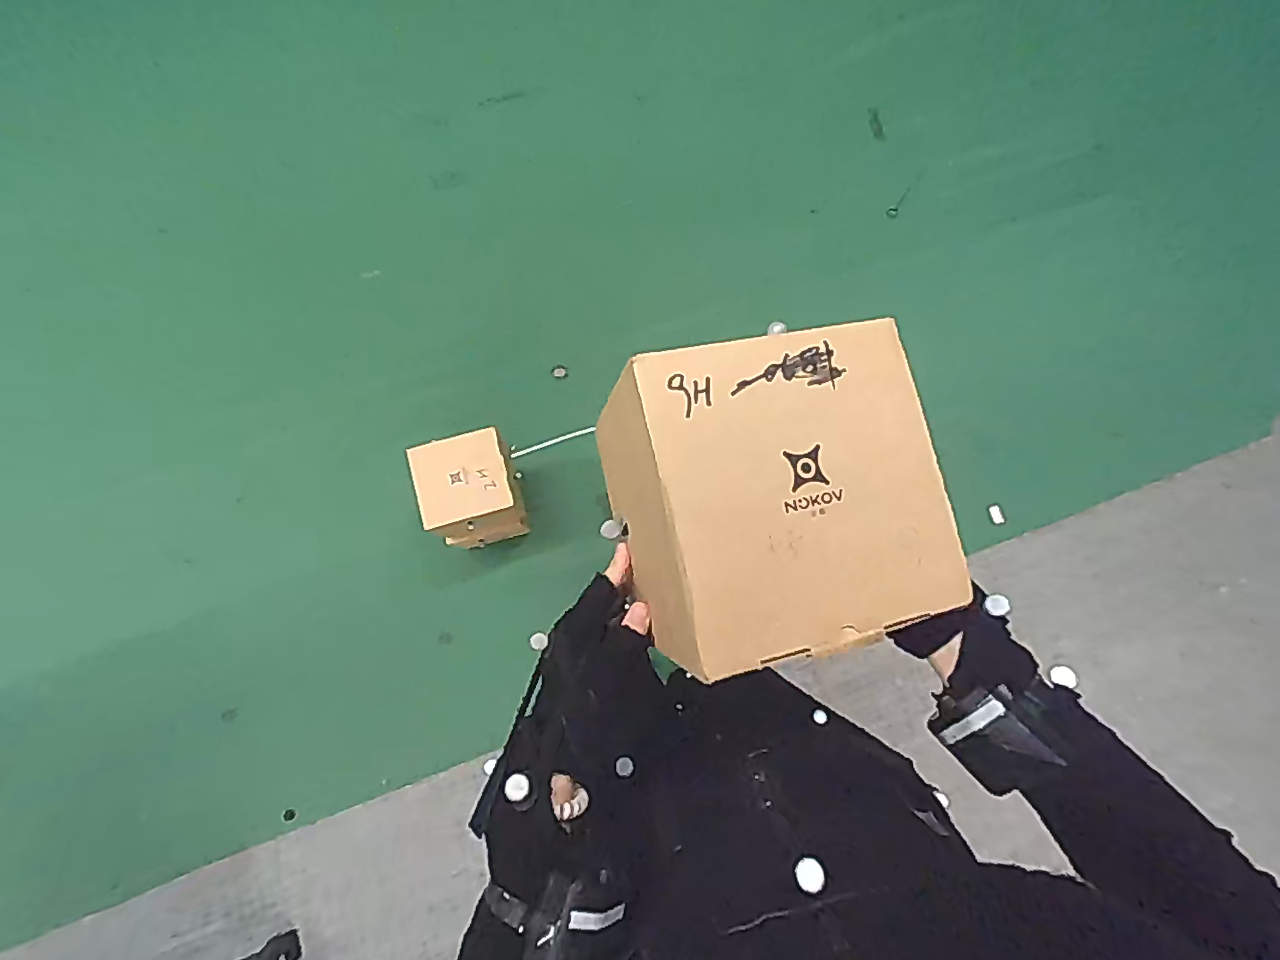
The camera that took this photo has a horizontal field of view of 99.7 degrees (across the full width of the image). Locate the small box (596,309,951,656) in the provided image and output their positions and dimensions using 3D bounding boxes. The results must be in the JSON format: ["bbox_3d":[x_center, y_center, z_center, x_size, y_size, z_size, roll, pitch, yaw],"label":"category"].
[{"bbox_3d":[0.070,0.004,0.380,0.168,0.176,0.179,-10,84,-13],"label":"small box"}]

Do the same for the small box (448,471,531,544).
[{"bbox_3d":[-0.364,0.051,1.280,0.168,0.176,0.179,-14,80,-7],"label":"small box"}]

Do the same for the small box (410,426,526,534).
[{"bbox_3d":[-0.348,0.007,1.122,0.179,0.176,0.168,-15,80,-8],"label":"small box"}]
